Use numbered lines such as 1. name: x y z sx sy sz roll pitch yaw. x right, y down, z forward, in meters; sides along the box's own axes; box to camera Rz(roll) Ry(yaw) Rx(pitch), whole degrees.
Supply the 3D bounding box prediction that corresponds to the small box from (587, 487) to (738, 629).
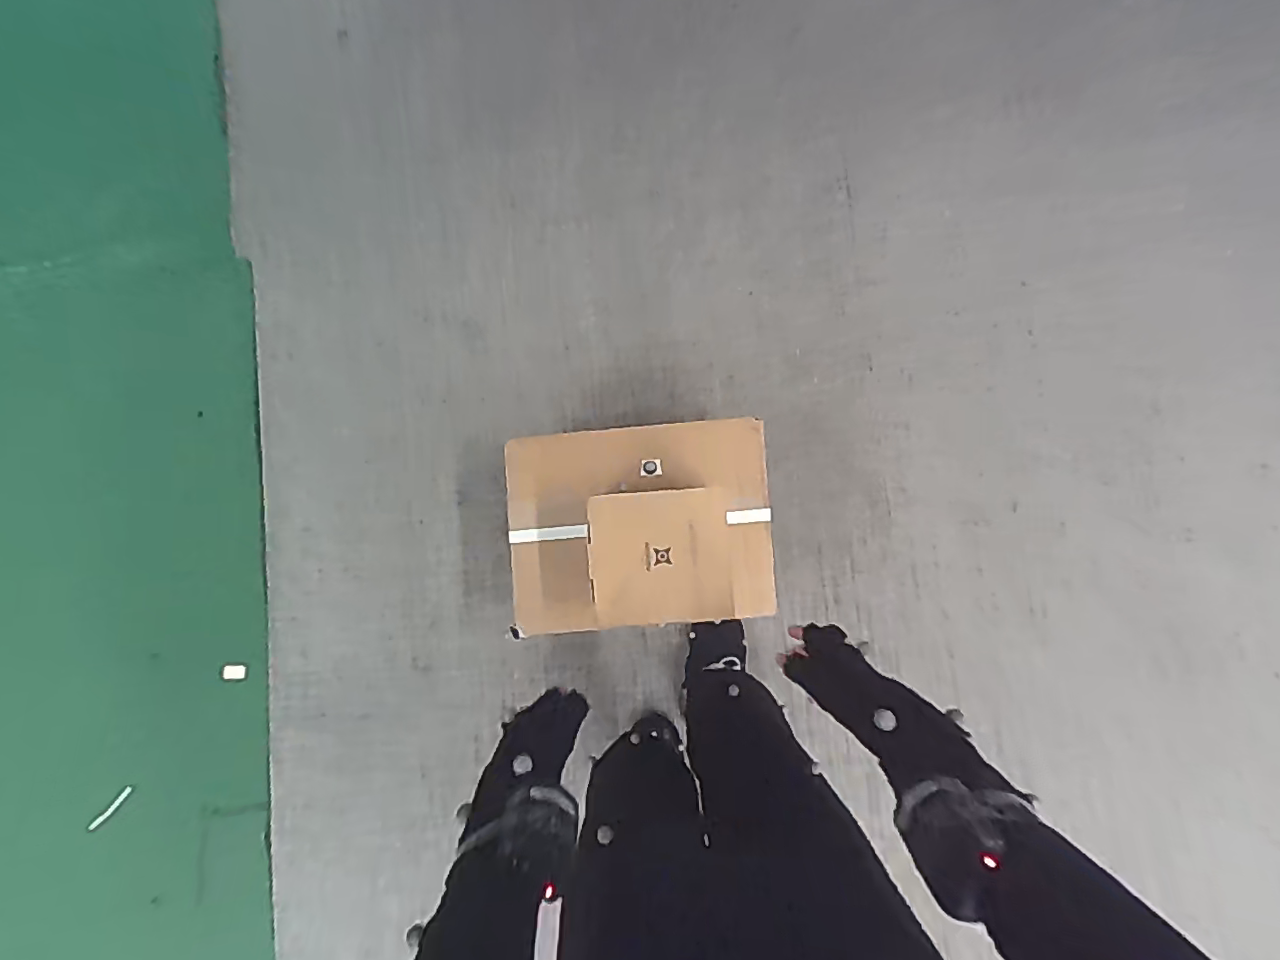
1. small box: 0.031 0.102 0.748 0.179 0.176 0.168 -6 87 1
